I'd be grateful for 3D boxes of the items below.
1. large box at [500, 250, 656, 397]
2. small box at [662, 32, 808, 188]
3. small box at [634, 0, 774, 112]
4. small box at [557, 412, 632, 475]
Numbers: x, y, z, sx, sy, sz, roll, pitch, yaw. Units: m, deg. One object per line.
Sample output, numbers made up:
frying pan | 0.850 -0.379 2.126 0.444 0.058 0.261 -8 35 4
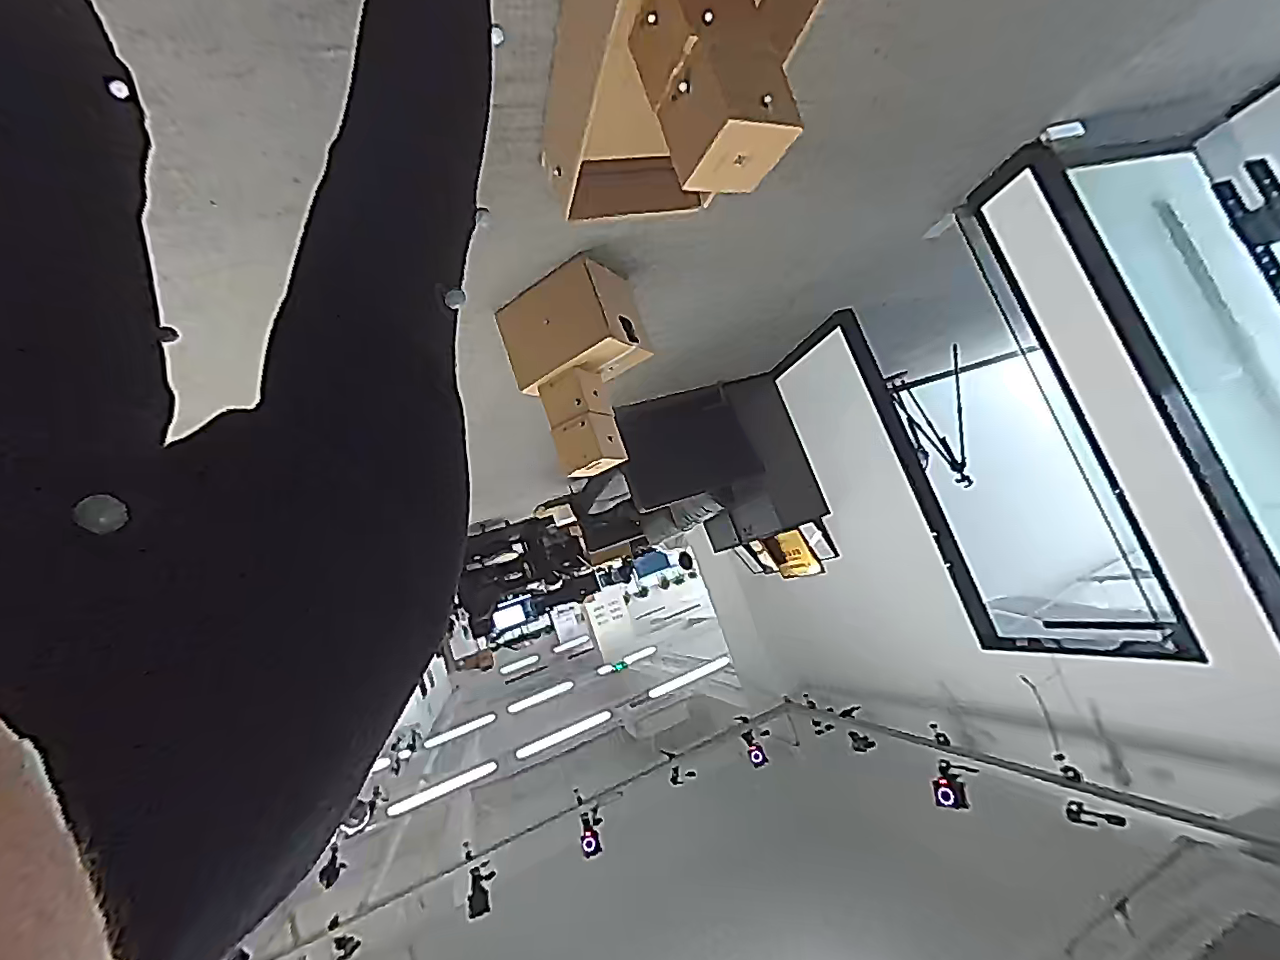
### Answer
large box | -0.222 -0.535 1.931 0.408 0.320 0.320 -26 171 28
small box | 0.168 -0.670 0.992 0.179 0.176 0.168 -14 172 -28
small box | 0.112 -0.823 1.007 0.179 0.176 0.168 -15 173 -24
small box | -0.159 -0.126 1.870 0.168 0.176 0.179 -24 171 26
